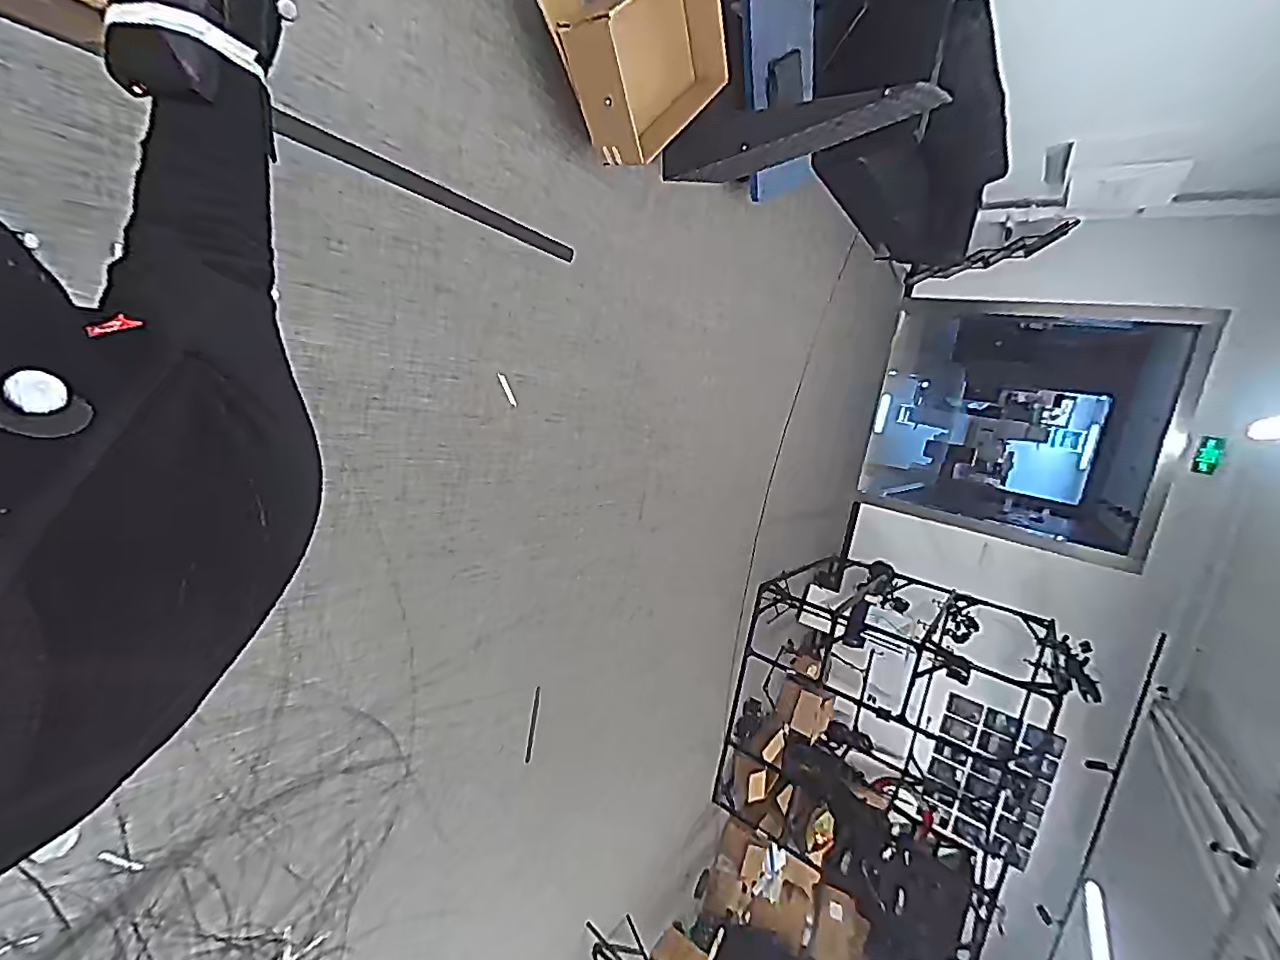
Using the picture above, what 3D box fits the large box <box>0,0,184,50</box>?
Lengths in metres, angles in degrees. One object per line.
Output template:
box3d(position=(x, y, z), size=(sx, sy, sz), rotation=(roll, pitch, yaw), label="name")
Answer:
box3d(position=(-0.527, -0.505, 0.271), size=(0.408, 0.320, 0.320), rotation=(-7, 122, -56), label="large box")
